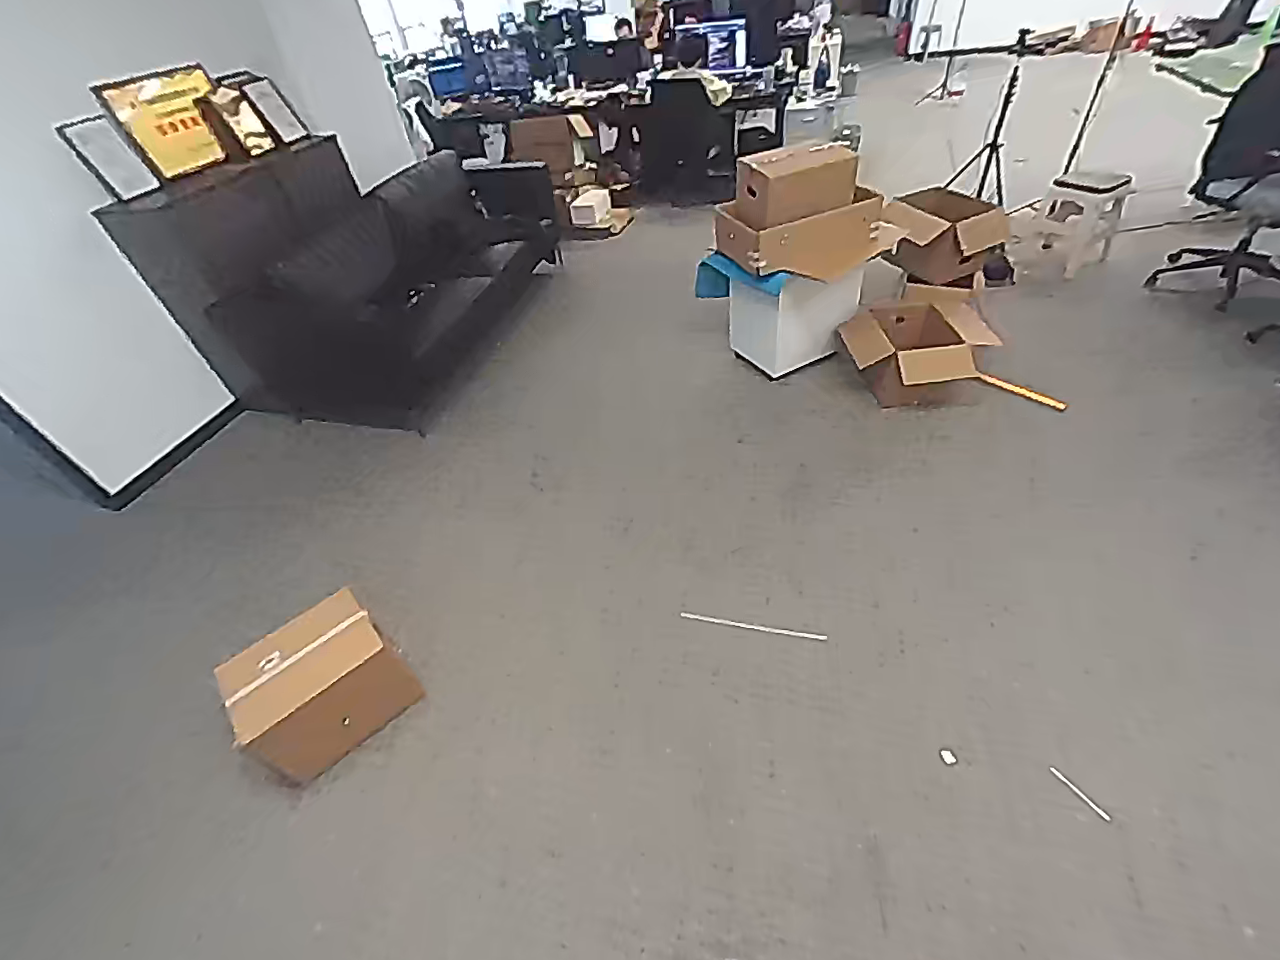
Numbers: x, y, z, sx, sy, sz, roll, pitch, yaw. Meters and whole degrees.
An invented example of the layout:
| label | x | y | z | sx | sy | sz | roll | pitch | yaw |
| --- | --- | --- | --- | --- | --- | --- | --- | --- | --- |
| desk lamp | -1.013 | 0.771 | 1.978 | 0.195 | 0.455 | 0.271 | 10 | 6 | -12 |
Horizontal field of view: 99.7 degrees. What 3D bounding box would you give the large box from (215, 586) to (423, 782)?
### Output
| label | x | y | z | sx | sy | sz | roll | pitch | yaw |
| --- | --- | --- | --- | --- | --- | --- | --- | --- | --- |
| large box | -0.962 | 0.616 | 1.658 | 0.408 | 0.320 | 0.320 | -37 | 50 | -25 |
